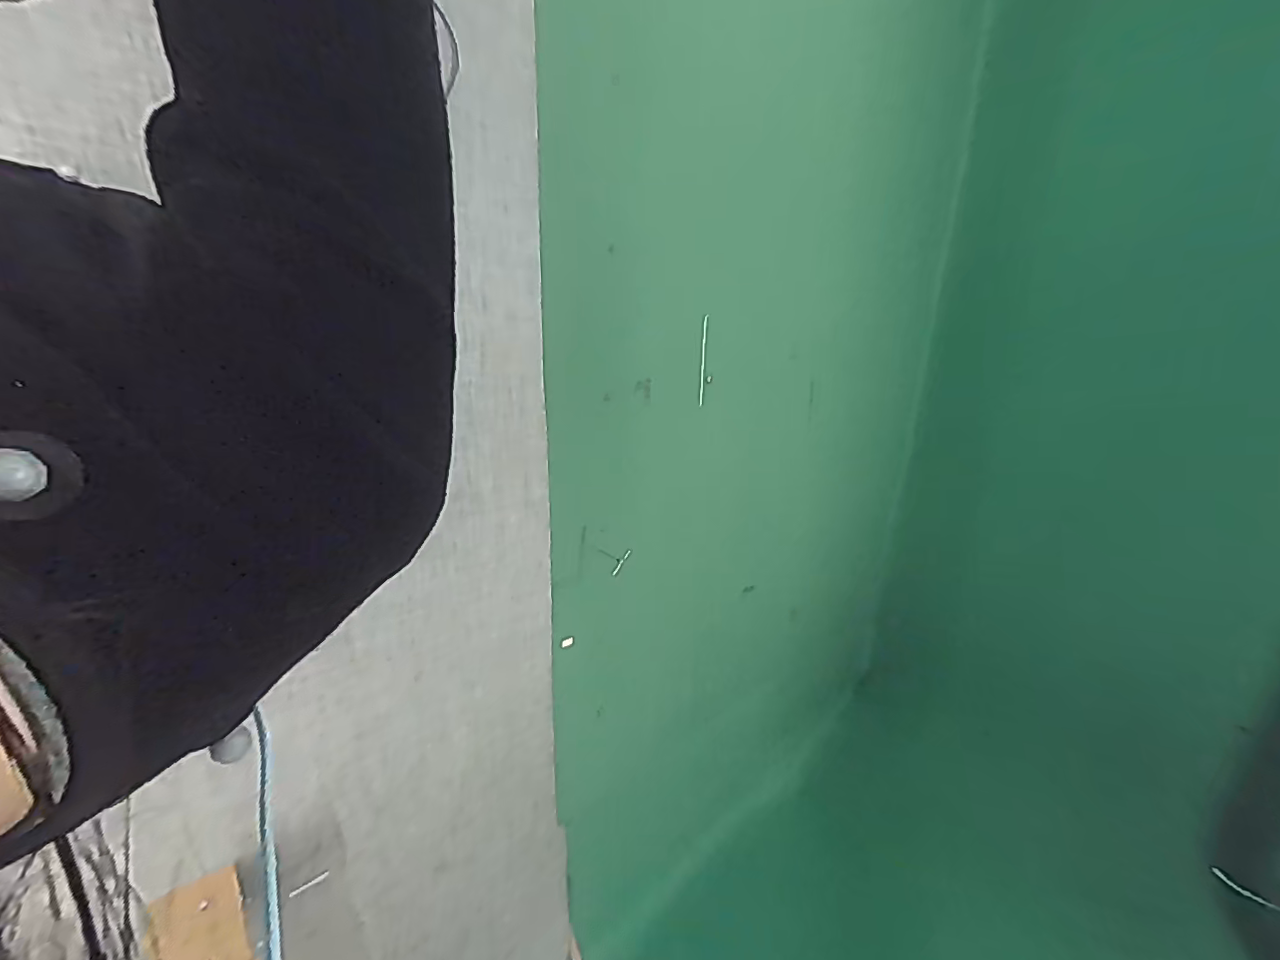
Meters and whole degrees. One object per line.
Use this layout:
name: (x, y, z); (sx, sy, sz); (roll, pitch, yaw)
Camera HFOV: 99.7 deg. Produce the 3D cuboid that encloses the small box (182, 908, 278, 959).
small box: (-0.961, 1.180, 1.270); (0.179, 0.176, 0.168); (-18, 116, -40)
